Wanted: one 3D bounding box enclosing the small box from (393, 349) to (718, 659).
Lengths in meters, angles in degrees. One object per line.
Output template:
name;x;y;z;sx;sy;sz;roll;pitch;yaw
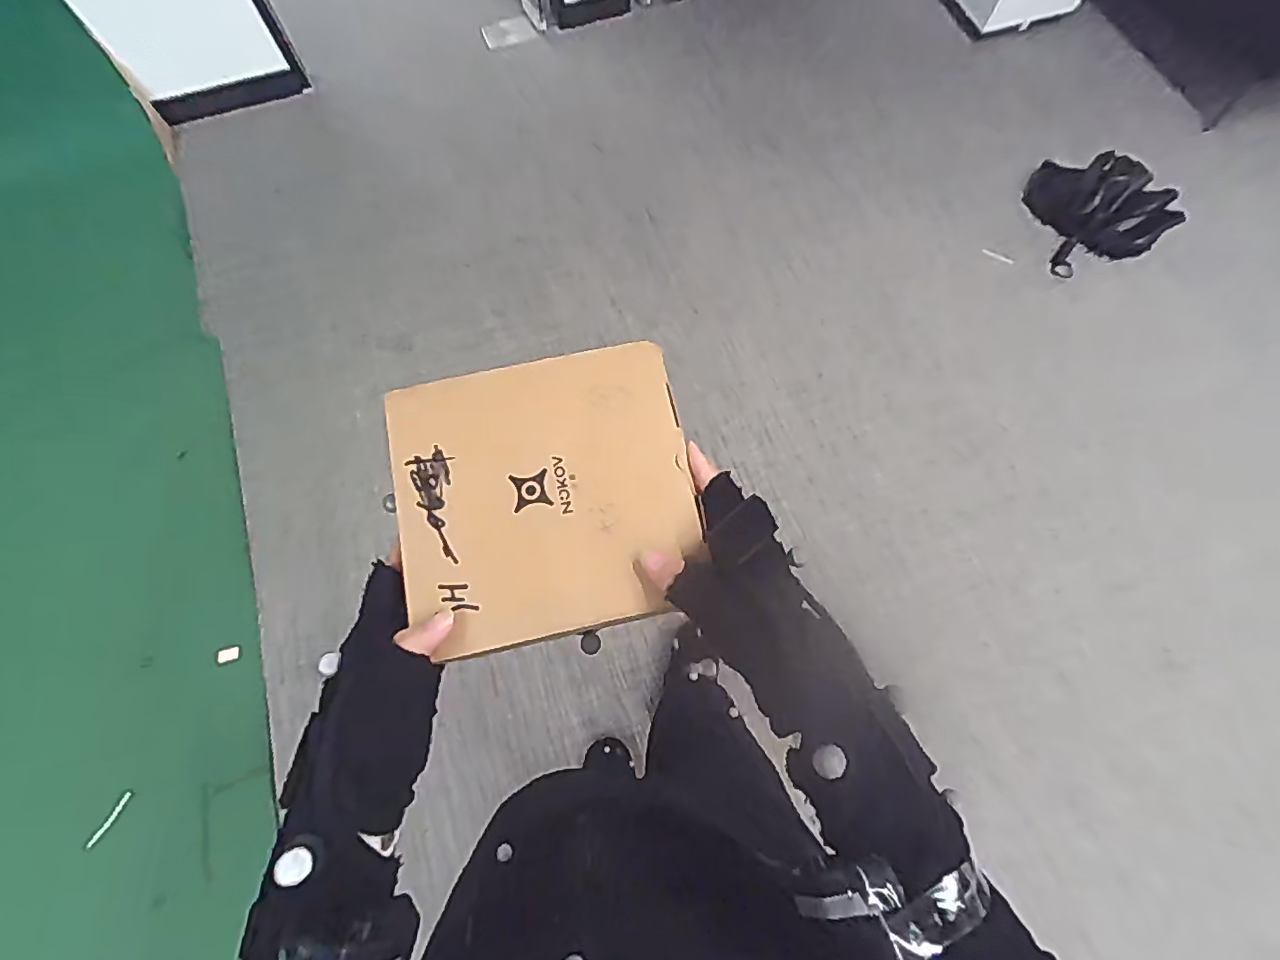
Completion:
small box;-0.057;0.027;0.402;0.179;0.176;0.168;-11;75;-5
